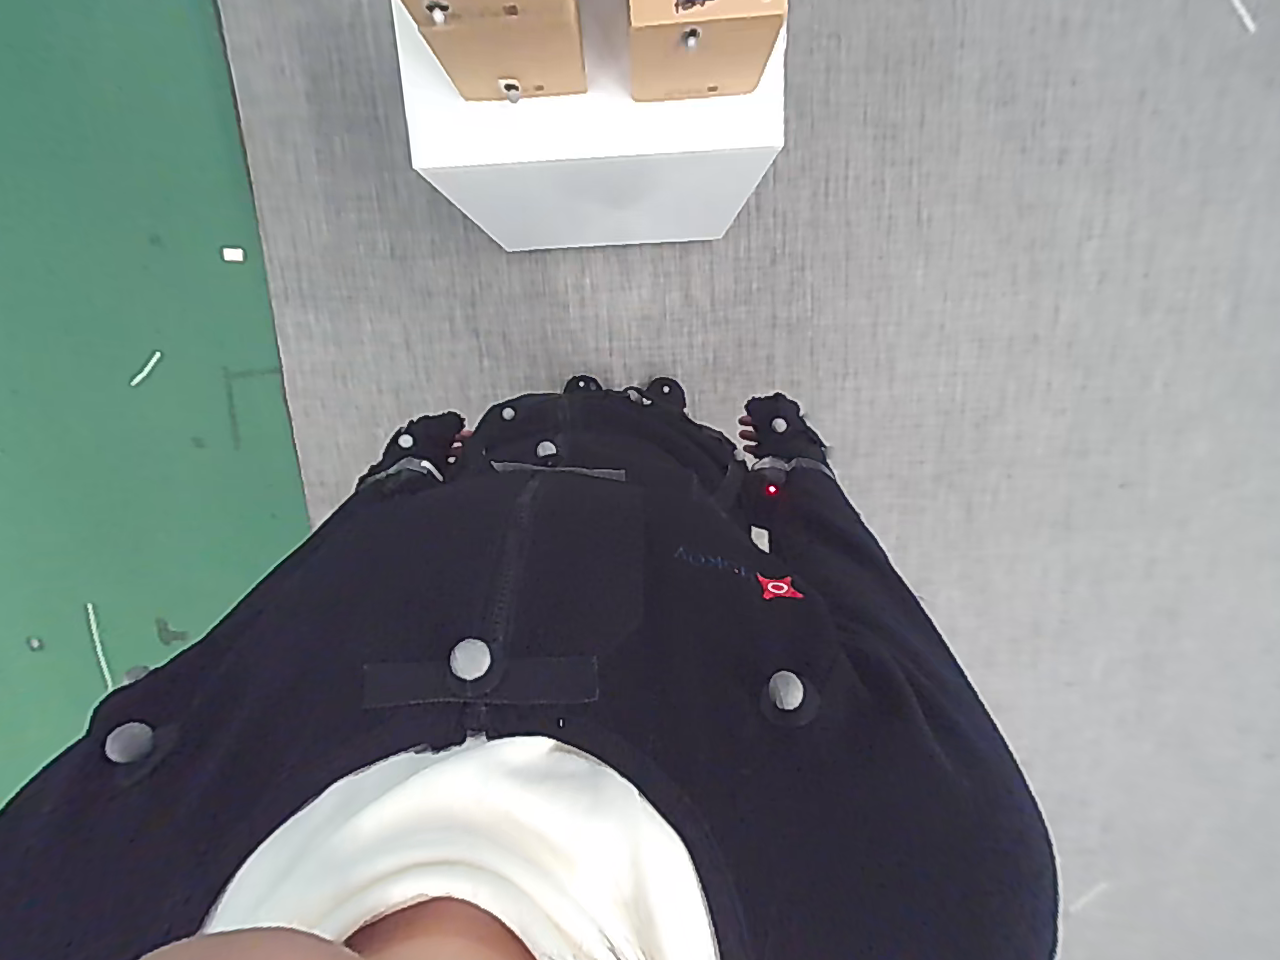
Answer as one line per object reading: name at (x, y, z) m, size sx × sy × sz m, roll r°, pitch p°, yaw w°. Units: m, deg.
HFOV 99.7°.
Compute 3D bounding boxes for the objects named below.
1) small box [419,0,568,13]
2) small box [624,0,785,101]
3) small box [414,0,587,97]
small box at (-0.154, -0.549, 0.469) m, size 0.168 × 0.176 × 0.179 m, roll -2°, pitch 100°, yaw 1°
small box at (0.065, -0.581, 0.627) m, size 0.168 × 0.176 × 0.179 m, roll -3°, pitch 101°, yaw 0°
small box at (-0.155, -0.578, 0.614) m, size 0.168 × 0.176 × 0.179 m, roll -5°, pitch 103°, yaw 1°
